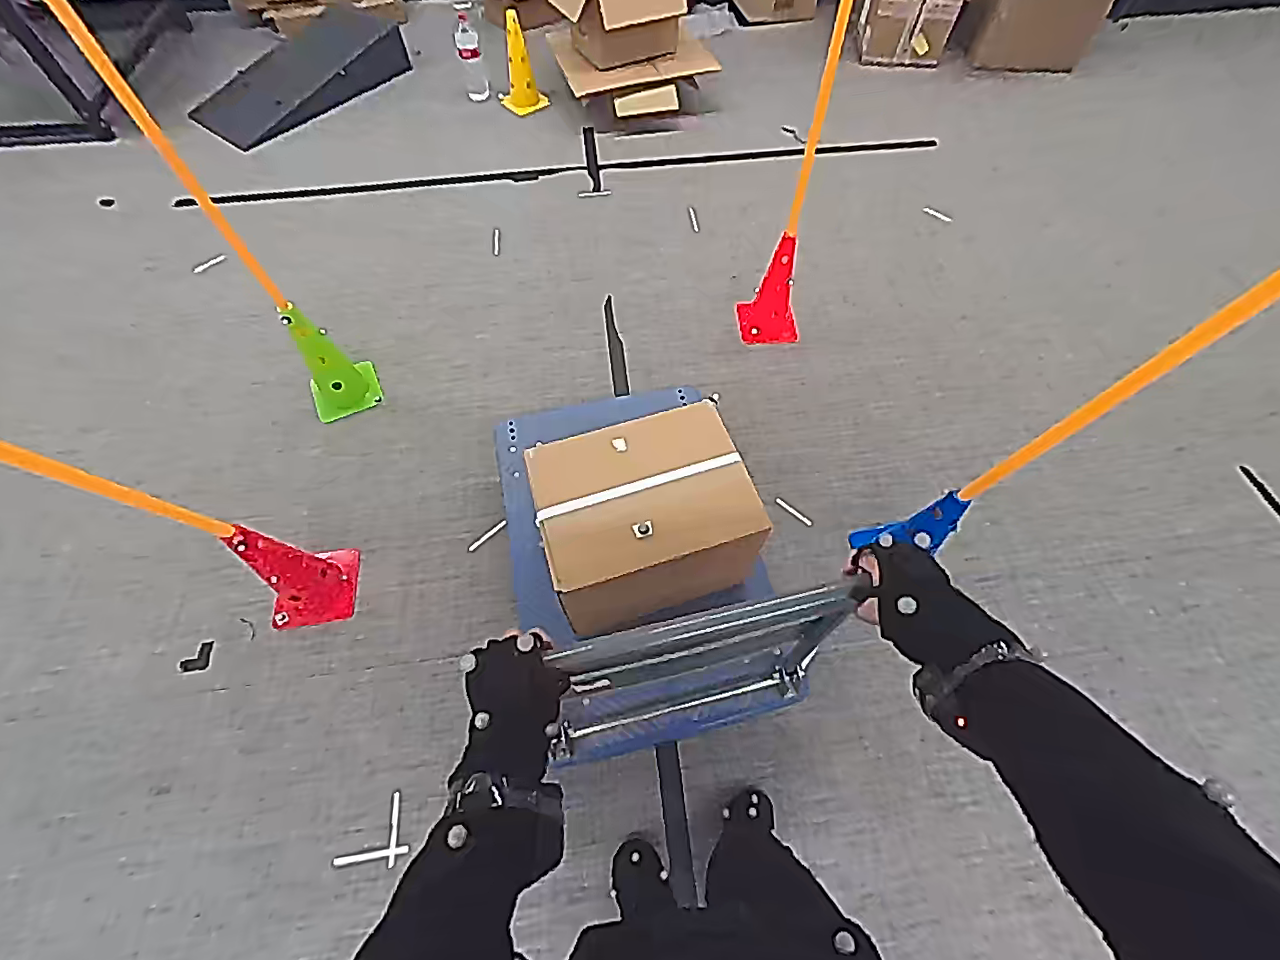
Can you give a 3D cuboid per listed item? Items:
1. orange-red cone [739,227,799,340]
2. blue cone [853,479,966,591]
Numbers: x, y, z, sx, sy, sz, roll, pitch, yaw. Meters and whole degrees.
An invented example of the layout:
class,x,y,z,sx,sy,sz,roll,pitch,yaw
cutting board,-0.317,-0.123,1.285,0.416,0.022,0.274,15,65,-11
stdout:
class,x,y,z,sx,sy,sz,roll,pitch,yaw
orange-red cone,0.453,-0.651,1.753,0.199,0.360,0.198,0,61,-1
blue cone,0.695,0.118,1.327,0.193,0.380,0.192,-10,59,-6
